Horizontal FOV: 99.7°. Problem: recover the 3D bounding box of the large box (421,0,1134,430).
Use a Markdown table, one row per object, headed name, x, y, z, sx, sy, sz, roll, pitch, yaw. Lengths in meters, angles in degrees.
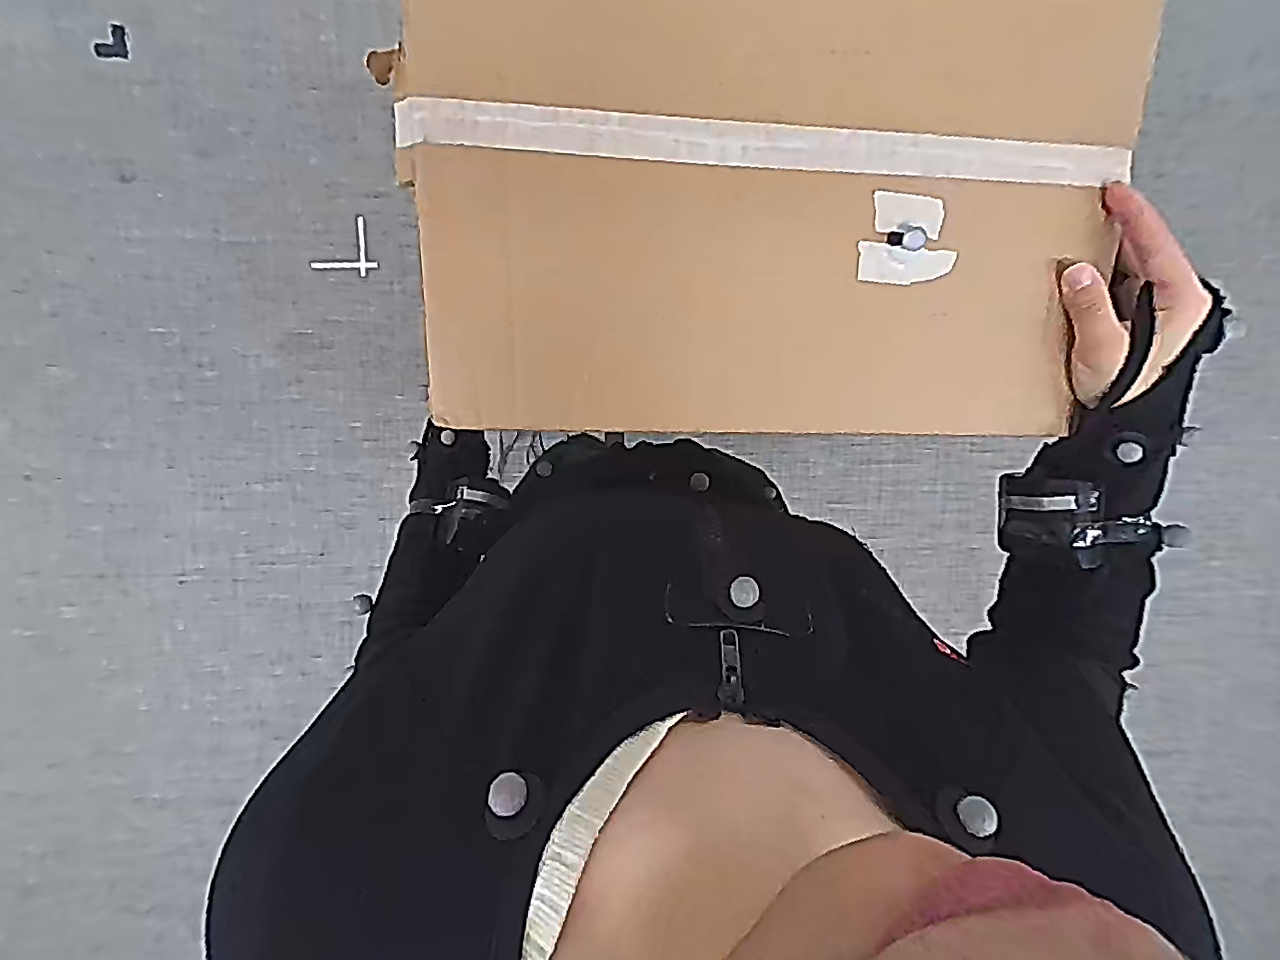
| name | x | y | z | sx | sy | sz | roll | pitch | yaw |
| --- | --- | --- | --- | --- | --- | --- | --- | --- | --- |
| large box | 0.065 | -0.217 | 0.452 | 0.408 | 0.320 | 0.320 | 0 | 104 | -8 |
